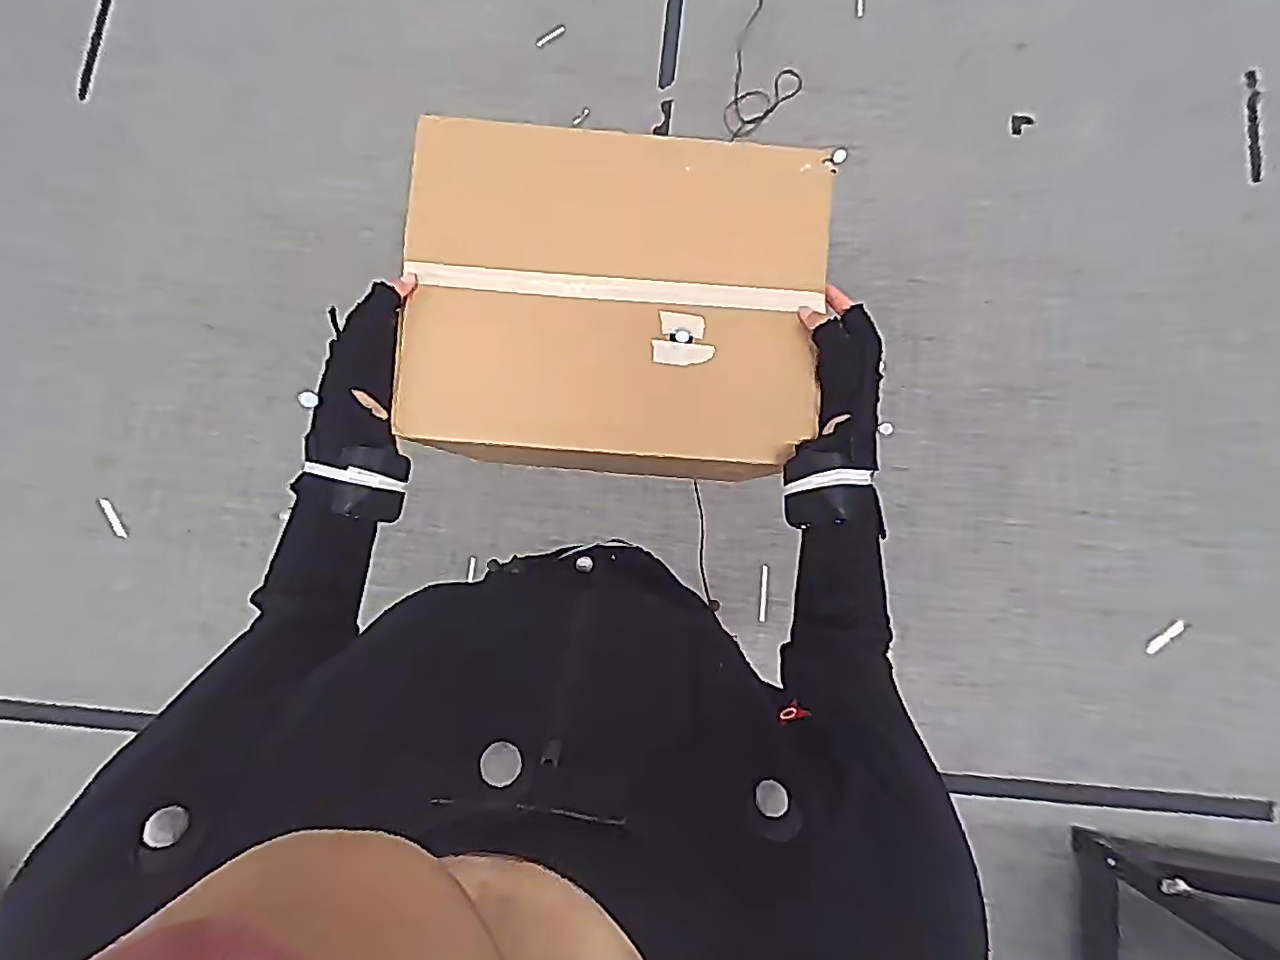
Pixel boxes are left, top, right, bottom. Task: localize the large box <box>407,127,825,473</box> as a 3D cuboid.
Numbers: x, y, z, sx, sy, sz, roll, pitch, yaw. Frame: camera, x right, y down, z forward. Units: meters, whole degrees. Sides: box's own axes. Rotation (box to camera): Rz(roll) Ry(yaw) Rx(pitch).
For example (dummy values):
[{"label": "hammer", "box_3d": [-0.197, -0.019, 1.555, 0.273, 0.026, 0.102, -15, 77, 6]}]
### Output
[{"label": "large box", "box_3d": [-0.027, -0.180, 0.683, 0.408, 0.320, 0.320, 5, 88, -2]}]
